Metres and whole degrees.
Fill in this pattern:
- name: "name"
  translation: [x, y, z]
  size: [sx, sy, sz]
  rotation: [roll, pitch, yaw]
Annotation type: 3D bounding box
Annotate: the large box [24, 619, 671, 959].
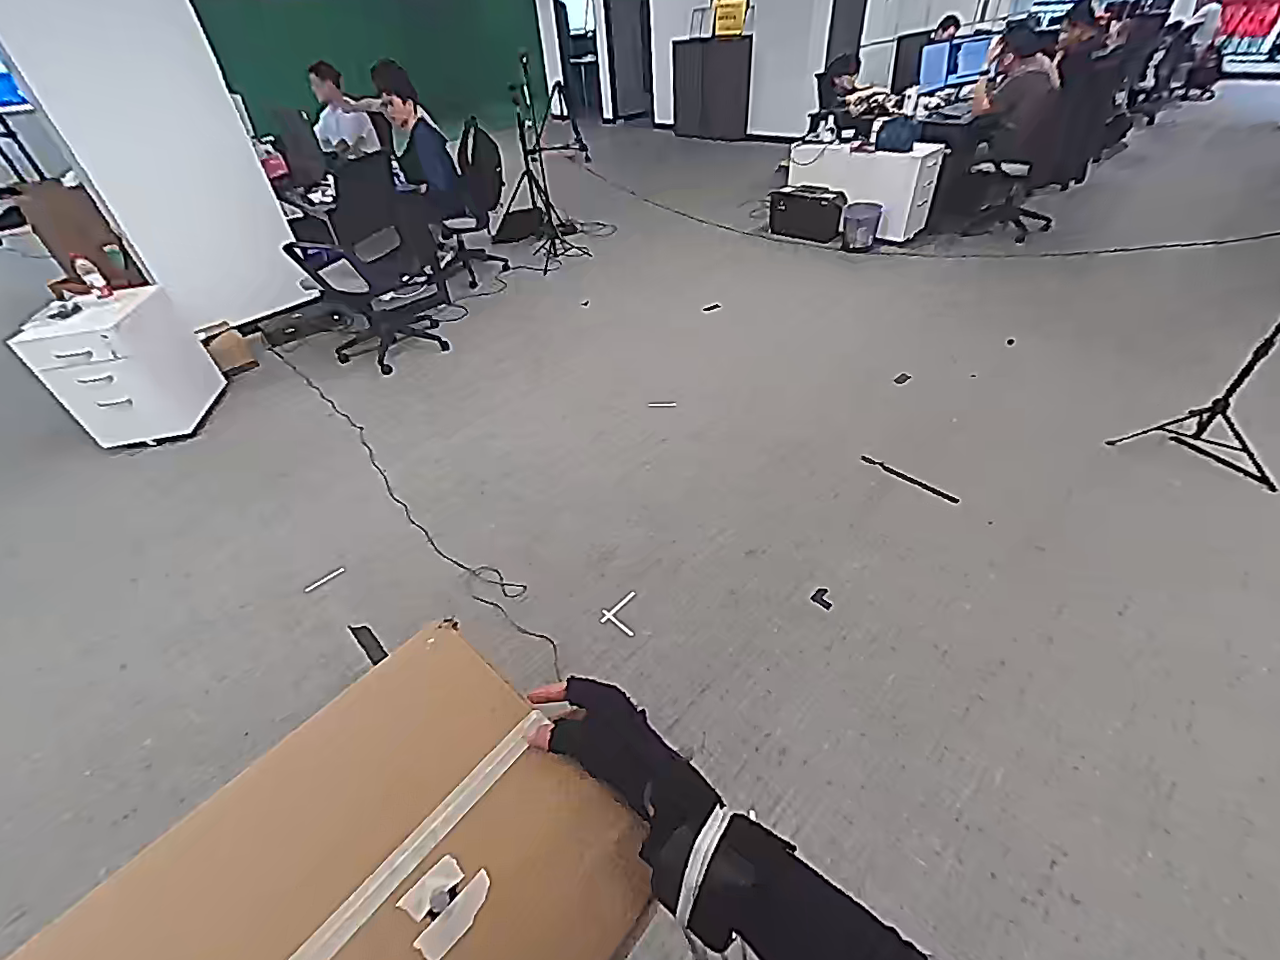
- name: "large box"
  translation: [-0.218, 0.428, 0.507]
  size: [0.320, 0.320, 0.408]
  rotation: [34, 54, 25]
